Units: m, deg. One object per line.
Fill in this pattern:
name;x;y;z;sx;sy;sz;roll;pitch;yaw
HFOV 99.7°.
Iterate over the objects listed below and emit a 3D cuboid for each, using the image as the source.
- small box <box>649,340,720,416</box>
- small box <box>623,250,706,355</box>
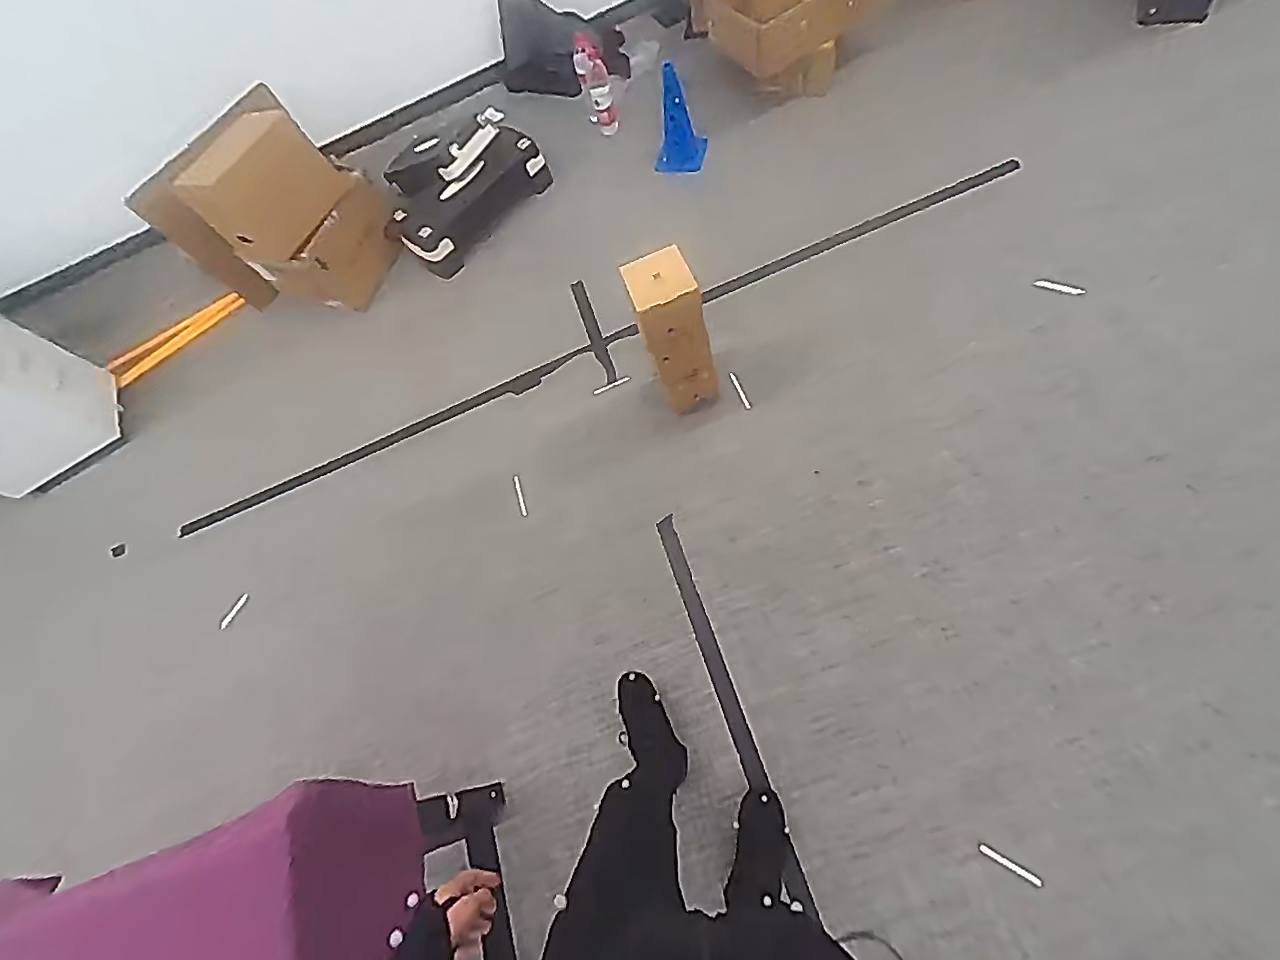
small box;0.147;-0.338;1.746;0.168;0.176;0.179;-25;64;2
small box;0.068;-0.474;1.459;0.168;0.176;0.179;-22;63;3
